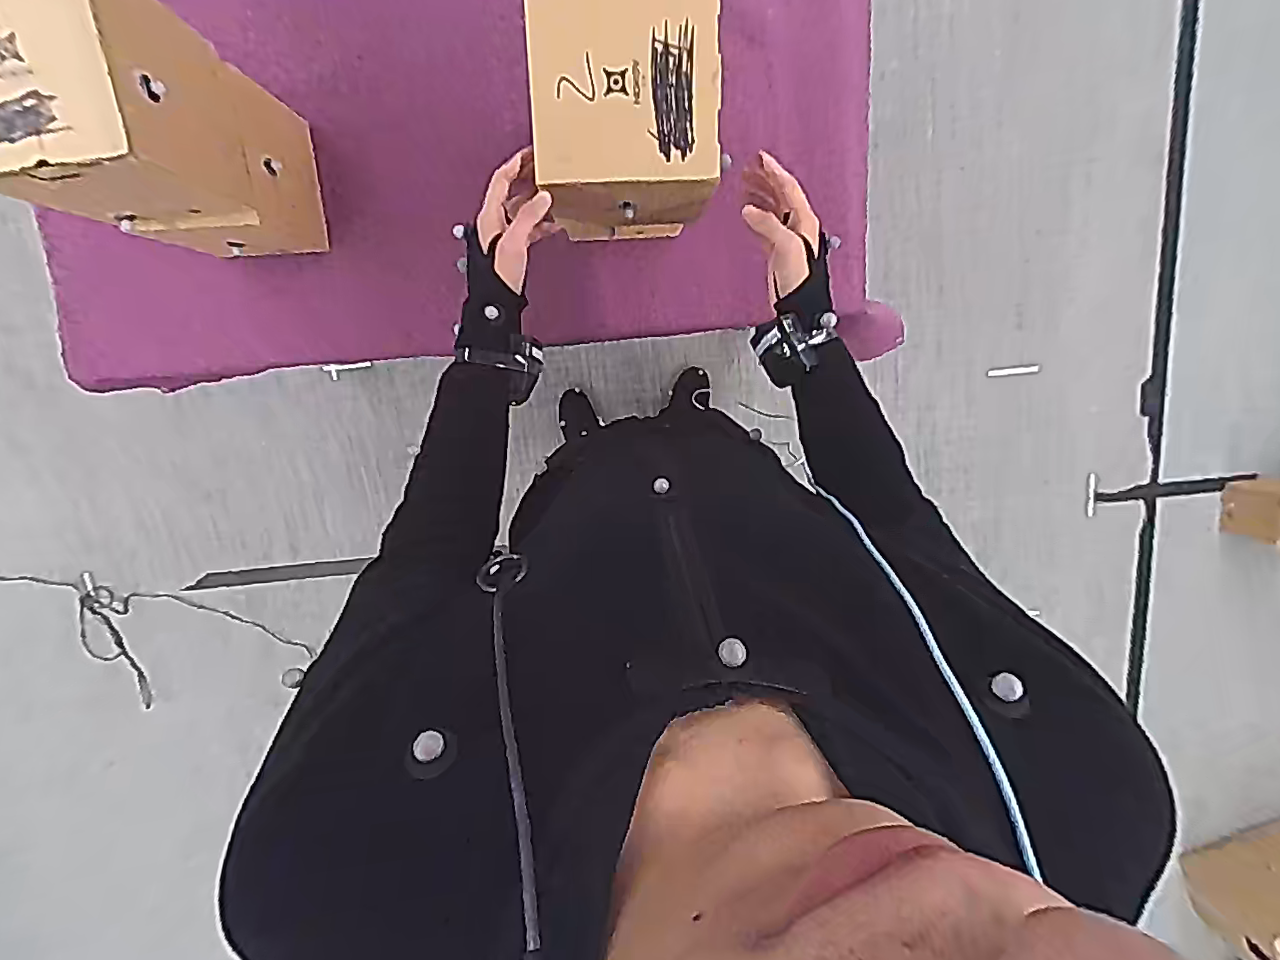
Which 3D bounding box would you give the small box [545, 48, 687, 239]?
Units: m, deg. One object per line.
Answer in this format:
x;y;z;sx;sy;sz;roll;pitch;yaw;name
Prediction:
-0.027;-0.431;0.724;0.168;0.176;0.179;-3;102;-1;small box

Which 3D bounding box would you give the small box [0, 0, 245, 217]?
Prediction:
-0.545;-0.379;0.543;0.168;0.176;0.179;-8;102;-1;small box

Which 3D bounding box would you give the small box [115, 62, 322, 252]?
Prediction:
-0.547;-0.403;0.706;0.168;0.176;0.179;-3;102;-2;small box
